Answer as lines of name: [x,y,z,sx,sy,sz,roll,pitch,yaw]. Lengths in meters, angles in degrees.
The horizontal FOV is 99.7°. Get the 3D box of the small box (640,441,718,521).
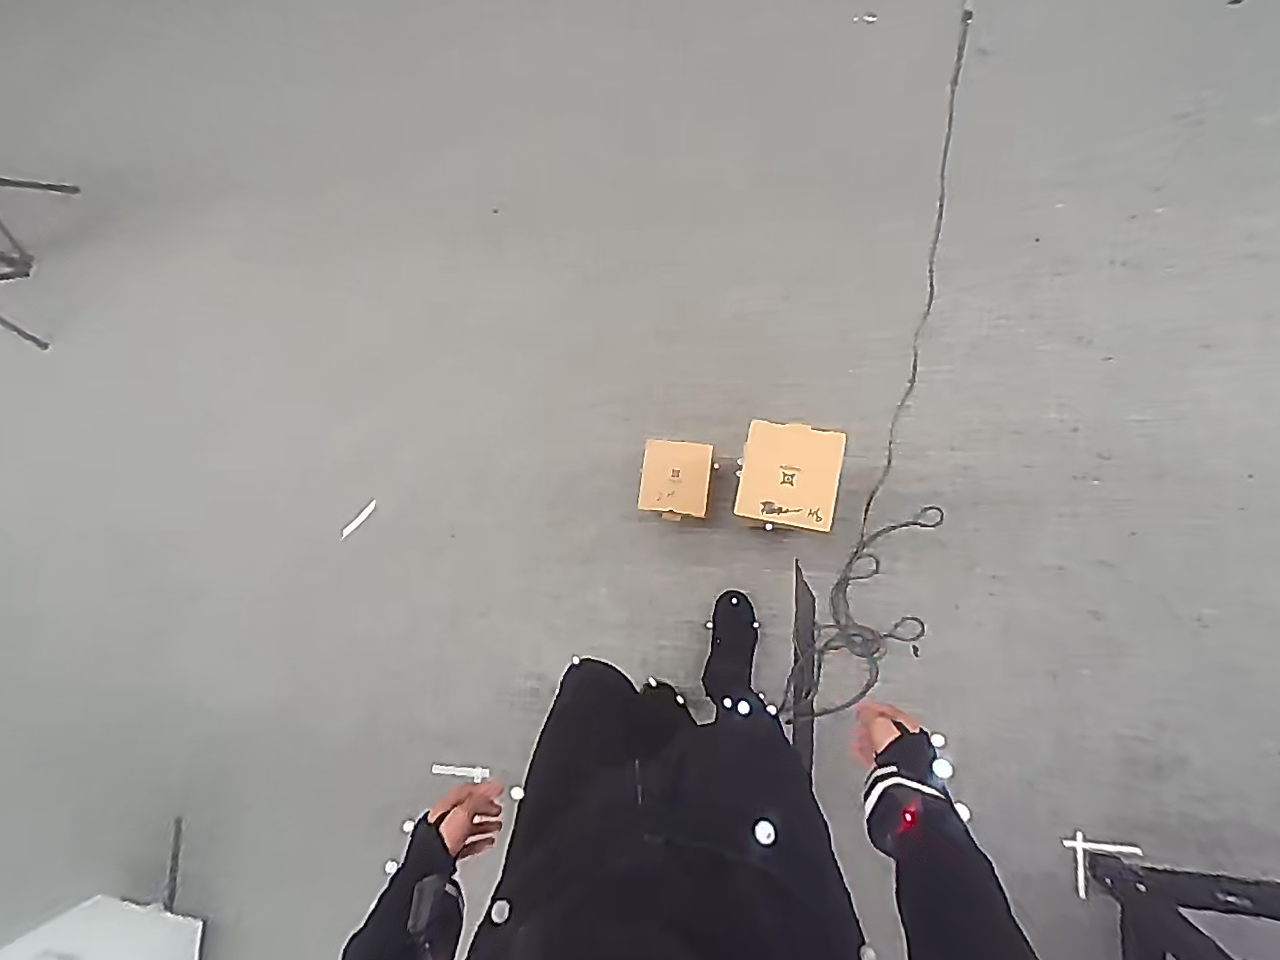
small box: [0.105,0.008,1.382,0.168,0.176,0.179,7,86,13]

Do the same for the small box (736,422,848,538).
small box: [0.278,0.006,1.015,0.168,0.176,0.179,11,85,13]
